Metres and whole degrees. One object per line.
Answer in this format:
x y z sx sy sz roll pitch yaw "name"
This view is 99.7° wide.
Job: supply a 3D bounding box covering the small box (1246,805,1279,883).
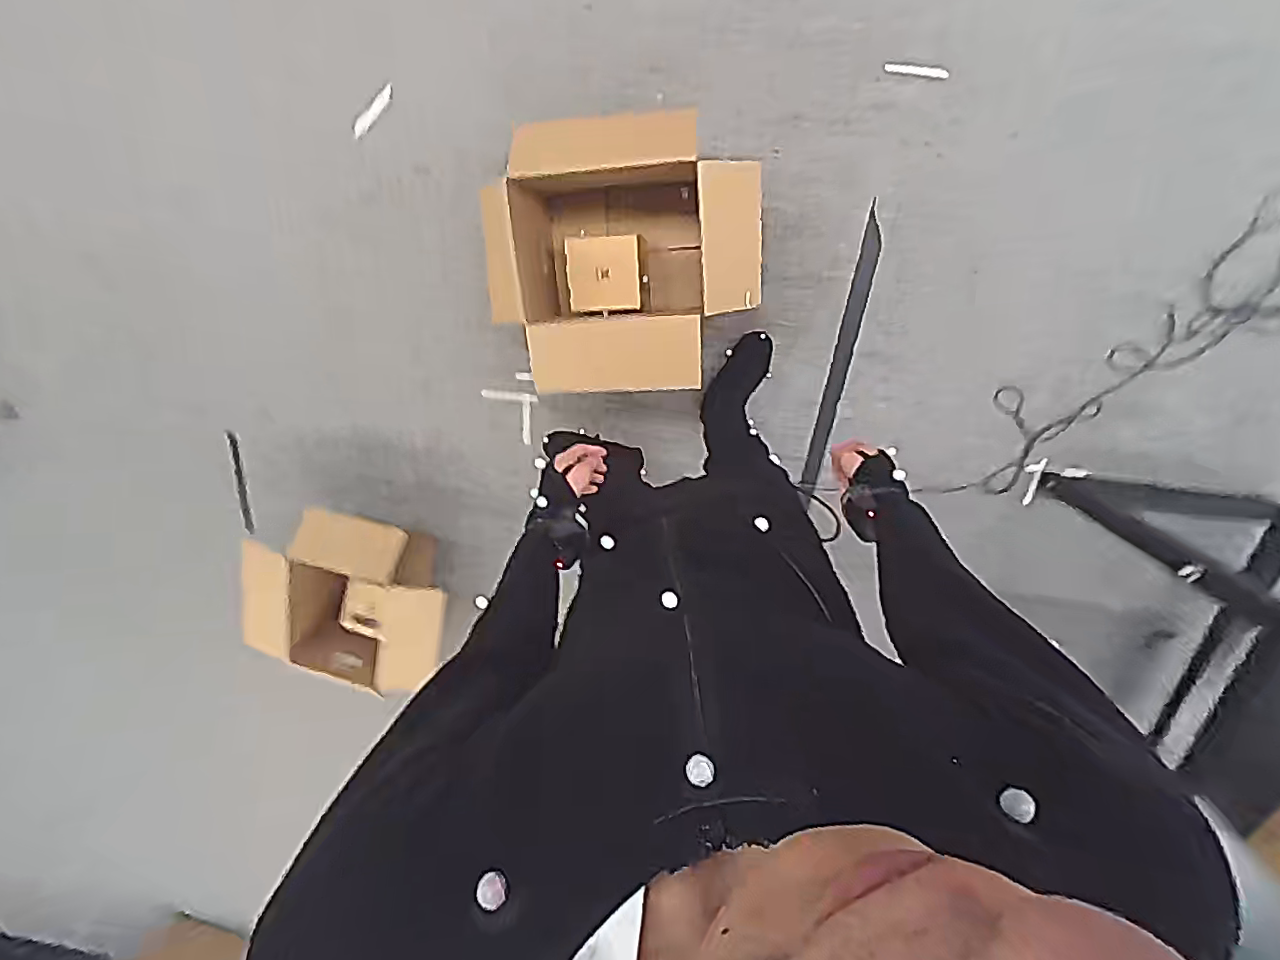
1.169 0.628 0.861 0.179 0.176 0.168 14 111 2 "small box"
